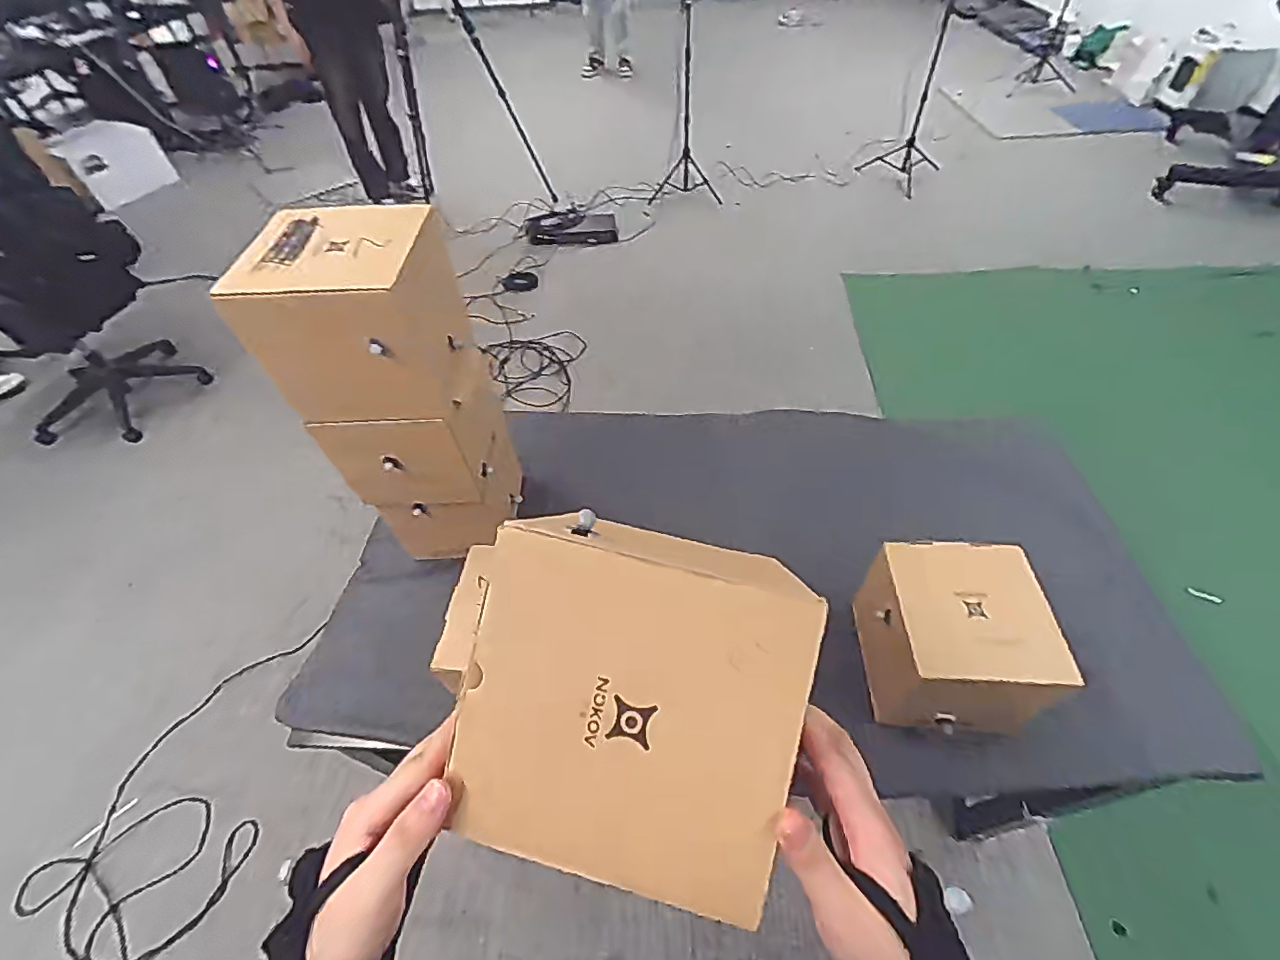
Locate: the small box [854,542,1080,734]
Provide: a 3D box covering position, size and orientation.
[{"bbox_3d":[0.382,0.197,0.676,0.168,0.176,0.179,0,50,6],"label":"small box"}]

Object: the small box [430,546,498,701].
[{"bbox_3d":[-0.138,0.203,0.708,0.179,0.176,0.168,2,51,6],"label":"small box"}]

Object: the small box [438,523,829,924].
[{"bbox_3d":[0.003,0.125,0.355,0.179,0.176,0.168,12,89,8],"label":"small box"}]

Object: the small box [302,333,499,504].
[{"bbox_3d":[-0.306,-0.080,0.742,0.179,0.176,0.168,-2,52,3],"label":"small box"}]

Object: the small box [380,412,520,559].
[{"bbox_3d":[-0.299,0.010,0.880,0.168,0.176,0.179,-3,51,2],"label":"small box"}]
